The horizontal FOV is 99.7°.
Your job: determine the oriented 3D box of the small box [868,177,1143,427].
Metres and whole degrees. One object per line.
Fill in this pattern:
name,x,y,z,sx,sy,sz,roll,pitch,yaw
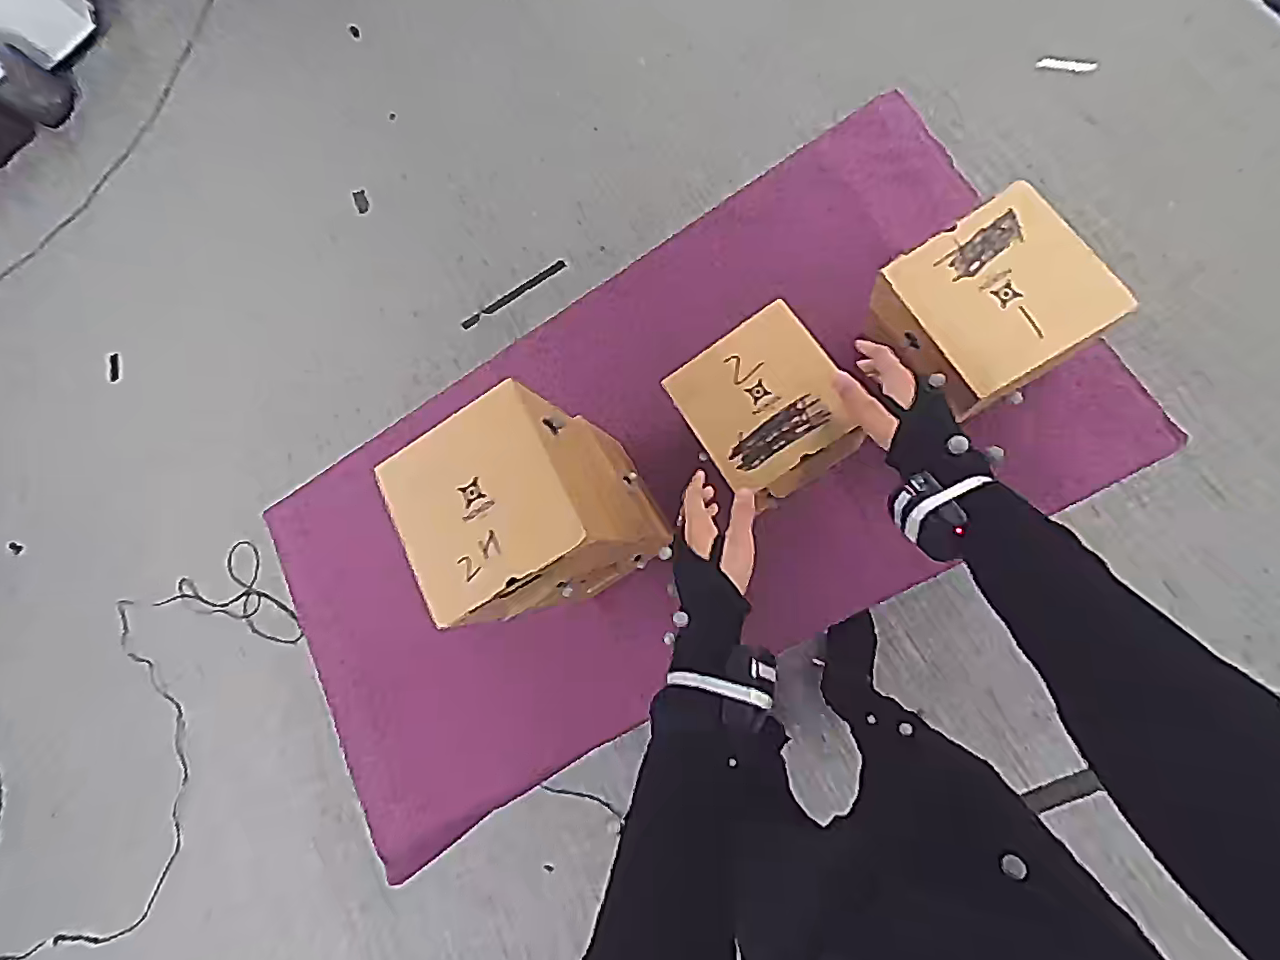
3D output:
small box,0.385,-0.185,0.616,0.168,0.176,0.179,-33,76,10

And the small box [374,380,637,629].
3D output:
small box,-0.127,0.032,0.560,0.168,0.176,0.179,-32,75,9

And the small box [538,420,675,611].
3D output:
small box,-0.074,0.050,0.715,0.168,0.176,0.179,-34,74,8
